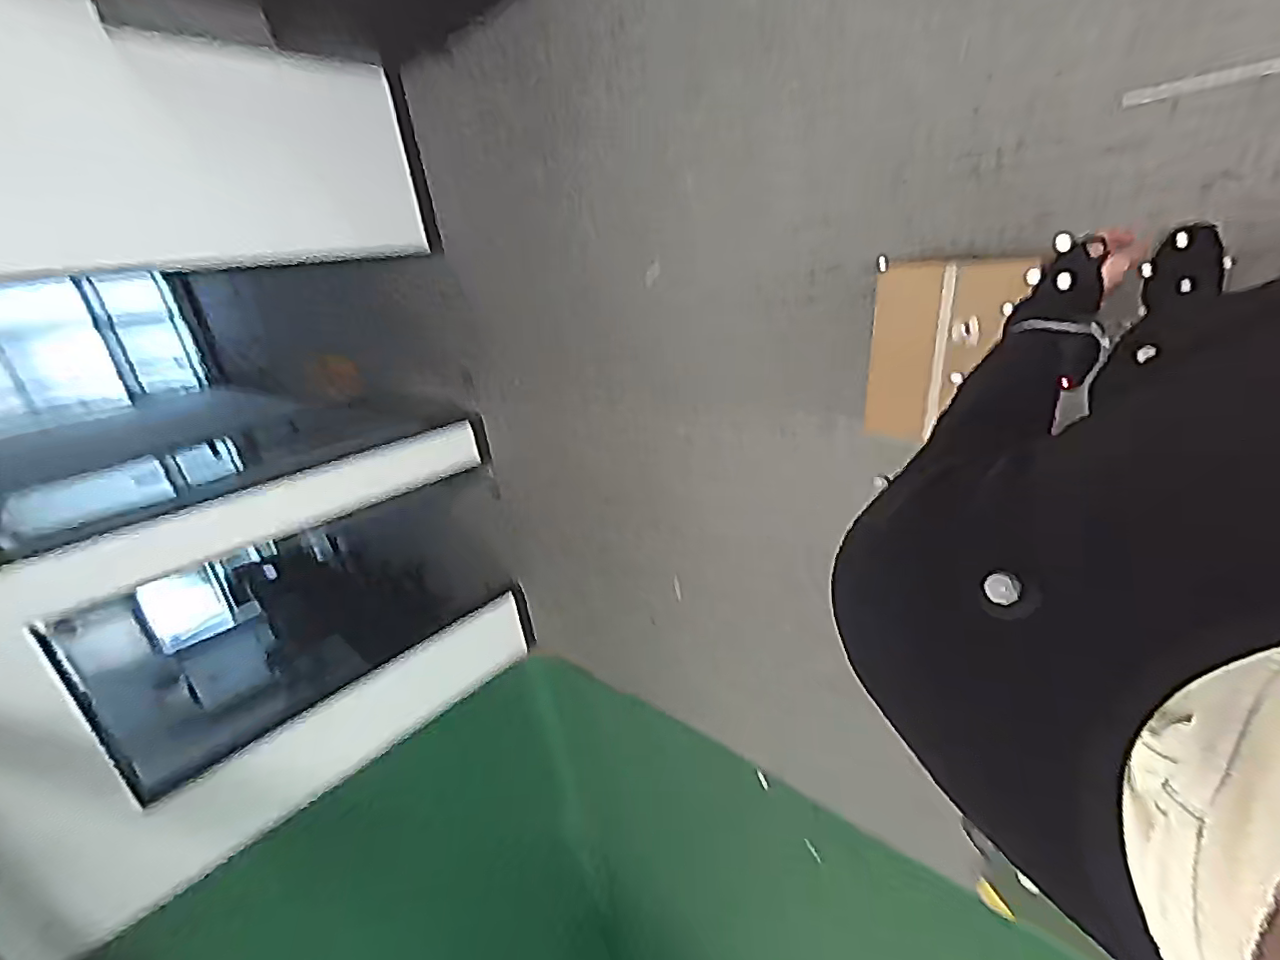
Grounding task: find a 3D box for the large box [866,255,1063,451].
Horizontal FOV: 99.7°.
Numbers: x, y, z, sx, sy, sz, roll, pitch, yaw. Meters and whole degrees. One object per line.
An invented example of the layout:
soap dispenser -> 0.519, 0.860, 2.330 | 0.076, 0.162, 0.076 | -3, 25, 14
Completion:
large box -> 0.785, -0.323, 1.325 | 0.320, 0.320, 0.408 | 16, 120, 40
